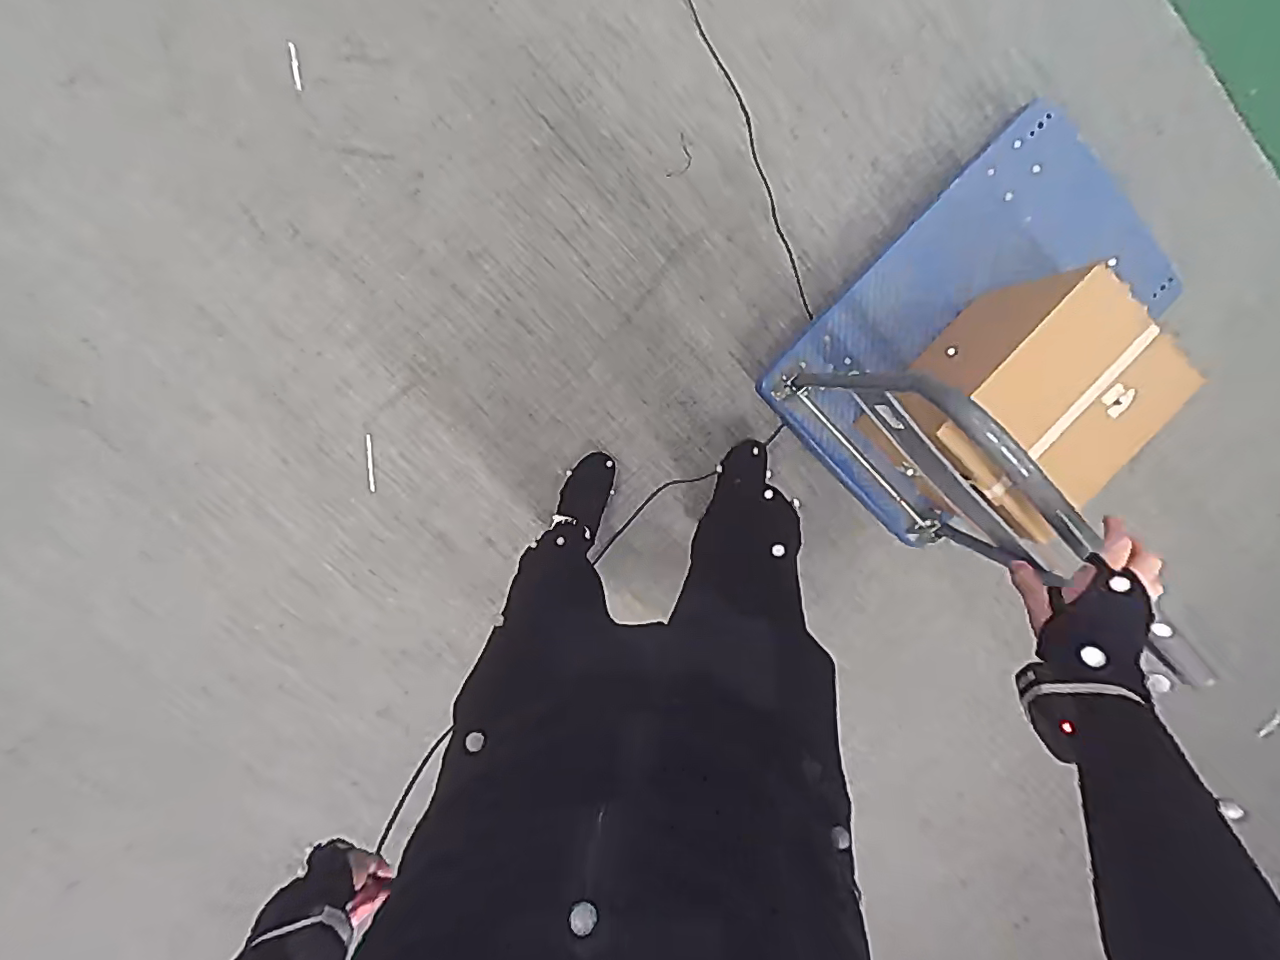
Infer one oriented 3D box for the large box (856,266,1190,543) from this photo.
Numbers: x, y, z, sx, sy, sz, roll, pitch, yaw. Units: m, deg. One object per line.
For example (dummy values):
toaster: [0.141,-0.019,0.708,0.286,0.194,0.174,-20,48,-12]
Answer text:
large box: [0.741,-0.145,1.109,0.320,0.320,0.408,43,93,-10]
